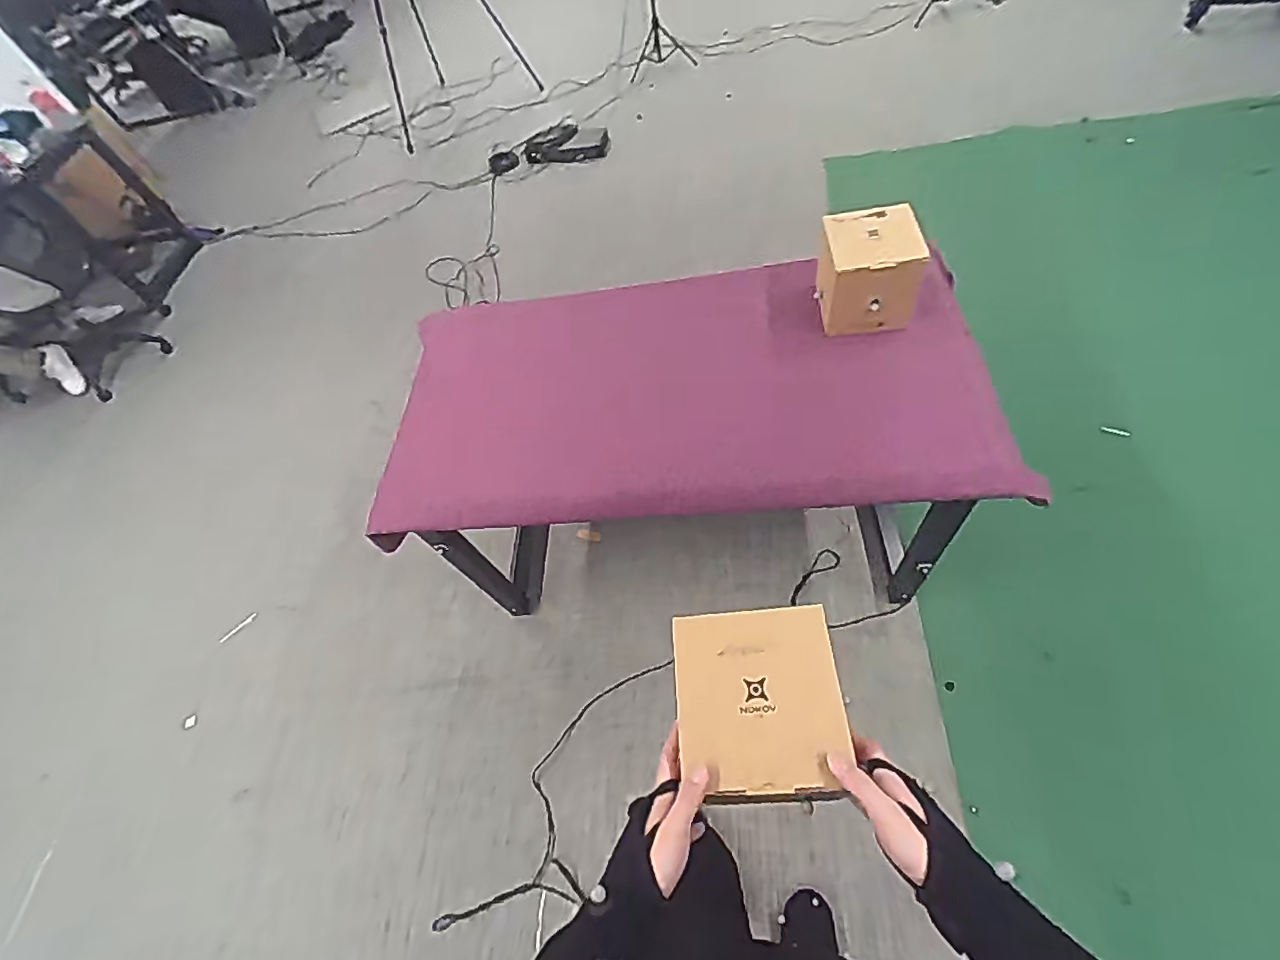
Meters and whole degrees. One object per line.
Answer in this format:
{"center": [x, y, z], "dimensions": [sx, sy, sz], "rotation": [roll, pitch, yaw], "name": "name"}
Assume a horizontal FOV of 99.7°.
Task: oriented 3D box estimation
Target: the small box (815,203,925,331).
{"center": [0.455, -0.421, 1.096], "dimensions": [0.168, 0.176, 0.179], "rotation": [-5, 58, 10], "name": "small box"}

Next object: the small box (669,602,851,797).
{"center": [0.129, 0.255, 0.611], "dimensions": [0.168, 0.176, 0.179], "rotation": [-7, 56, 9], "name": "small box"}
